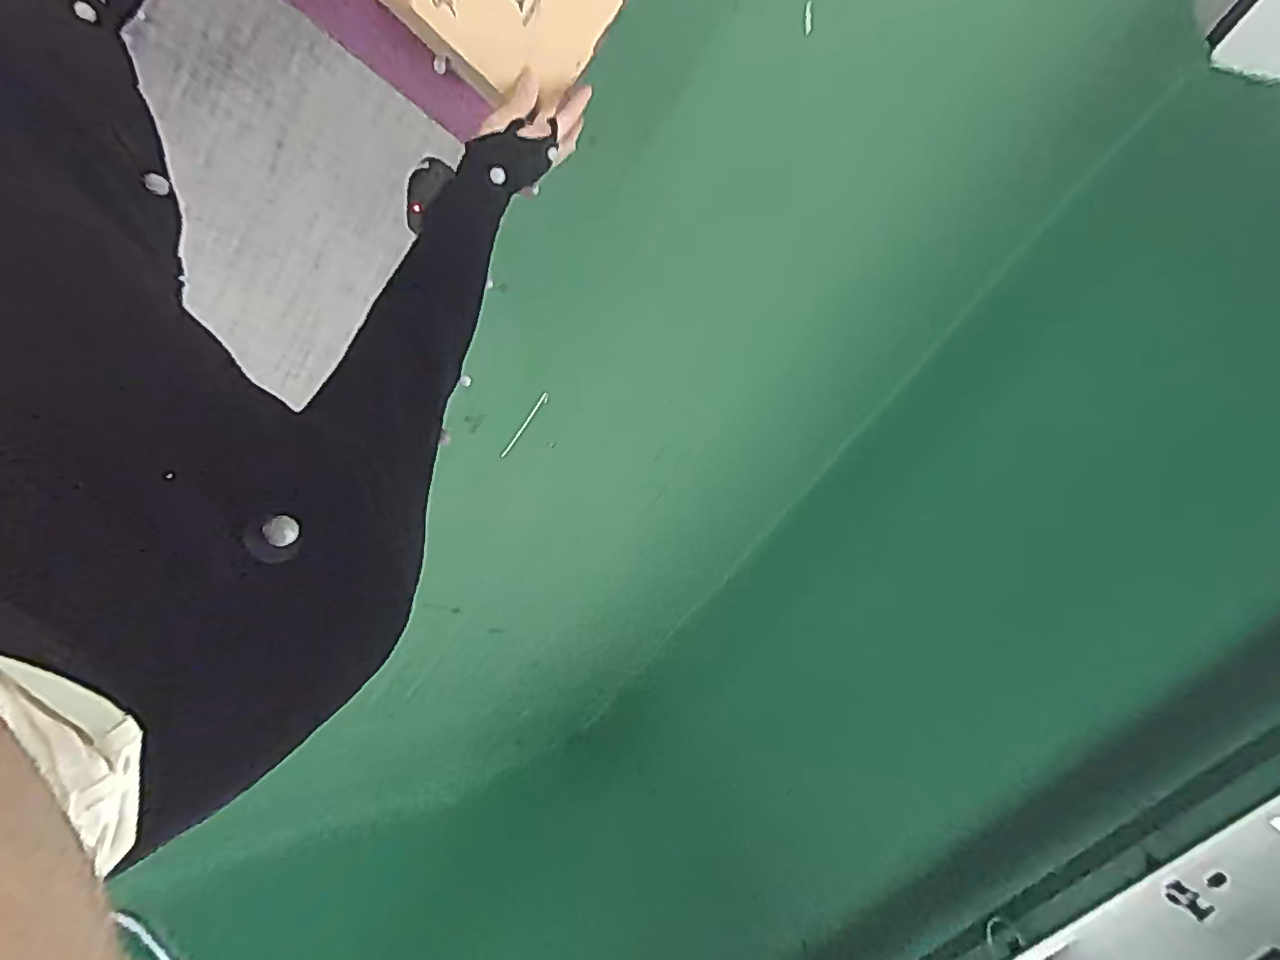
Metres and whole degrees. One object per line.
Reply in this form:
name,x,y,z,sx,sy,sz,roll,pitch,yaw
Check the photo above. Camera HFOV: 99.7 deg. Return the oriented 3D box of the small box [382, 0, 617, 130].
small box,-0.165,-0.541,0.597,0.168,0.176,0.179,-51,144,14
